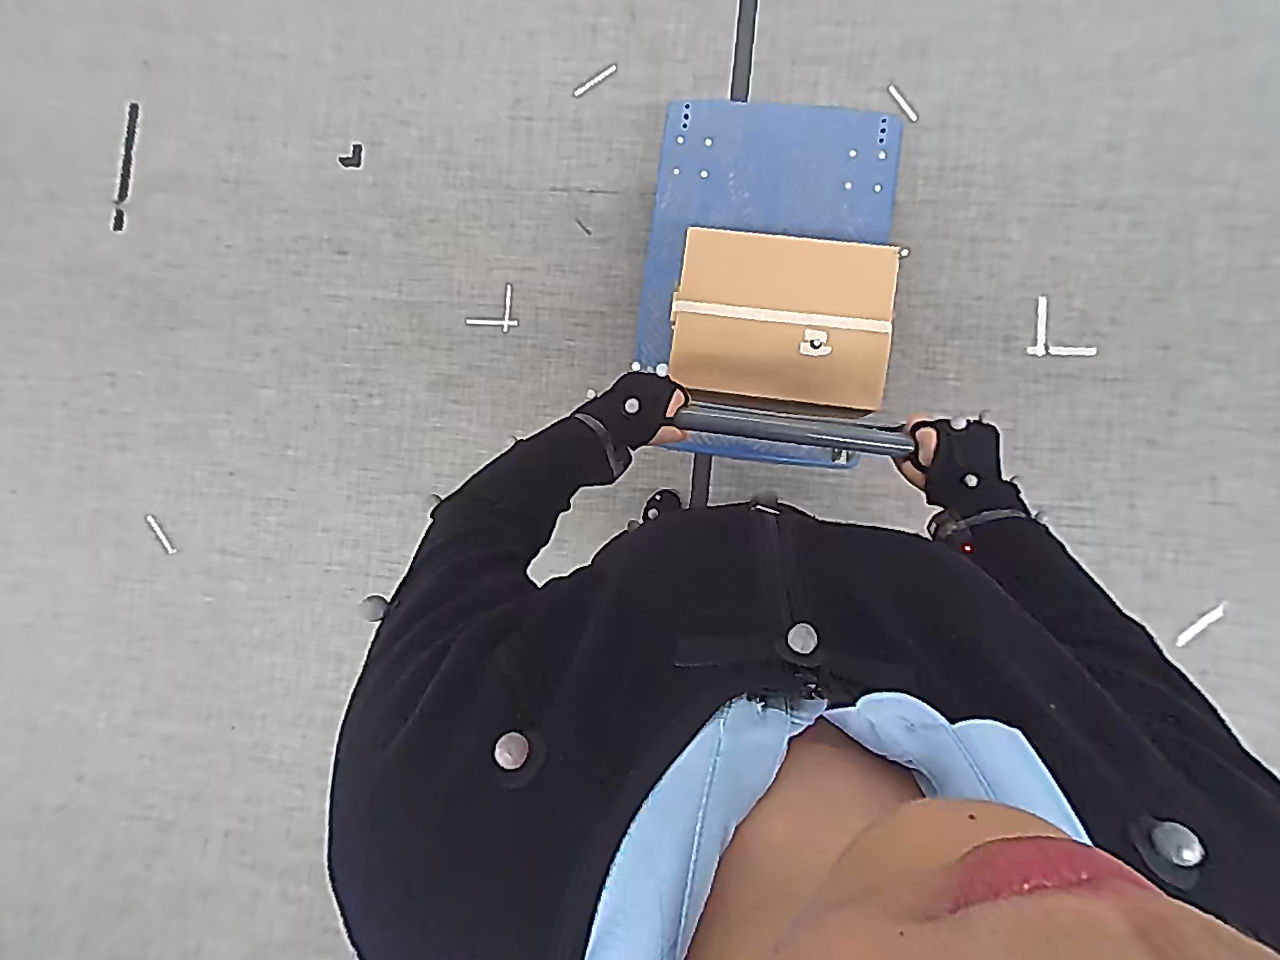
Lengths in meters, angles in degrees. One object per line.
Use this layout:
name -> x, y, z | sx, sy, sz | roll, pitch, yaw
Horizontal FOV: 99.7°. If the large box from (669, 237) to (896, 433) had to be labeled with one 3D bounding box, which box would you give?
large box -> 0.277, -0.291, 1.177 | 0.408, 0.320, 0.320 | 8, 90, 4
